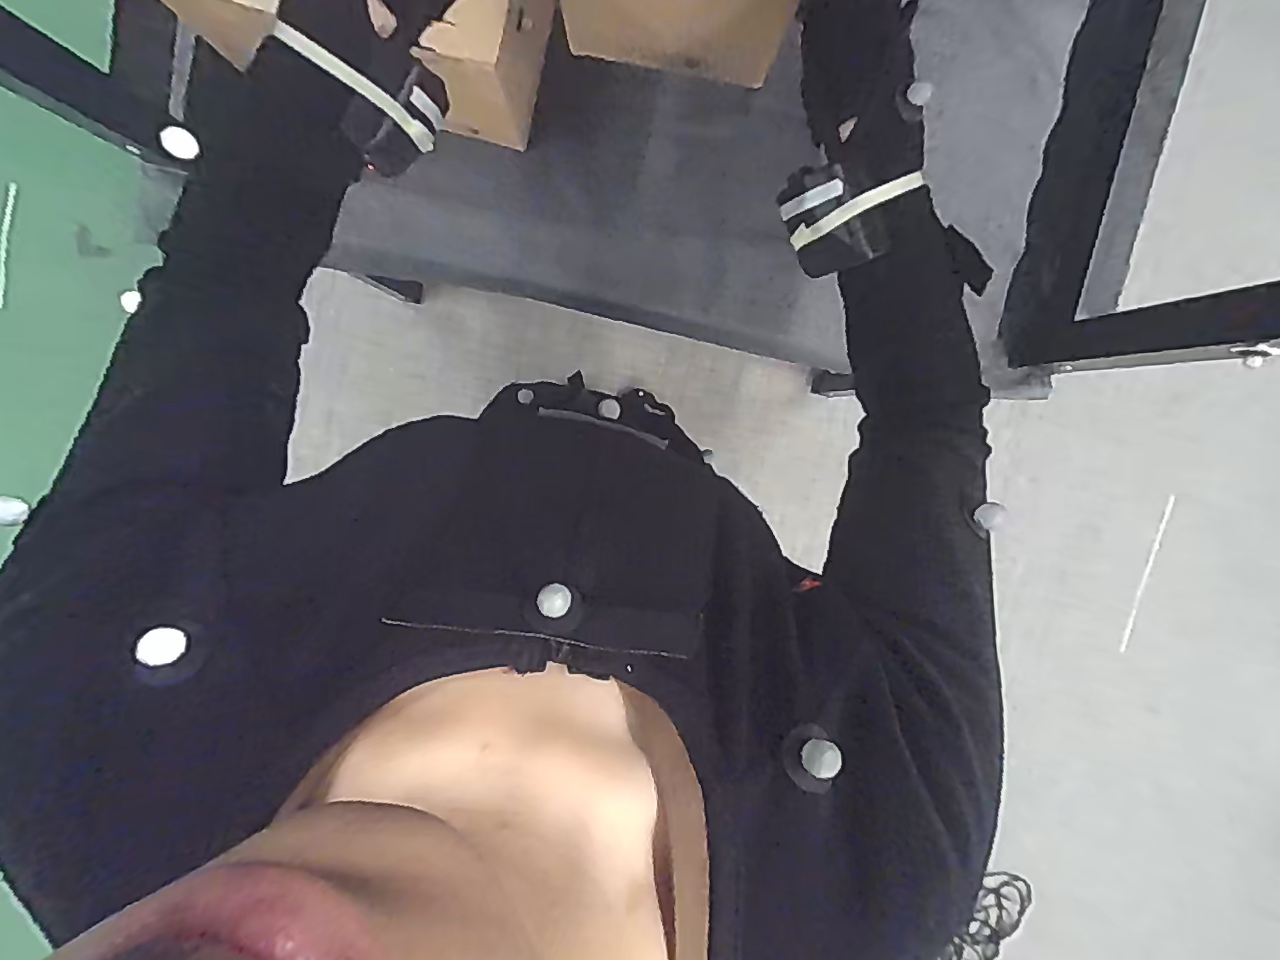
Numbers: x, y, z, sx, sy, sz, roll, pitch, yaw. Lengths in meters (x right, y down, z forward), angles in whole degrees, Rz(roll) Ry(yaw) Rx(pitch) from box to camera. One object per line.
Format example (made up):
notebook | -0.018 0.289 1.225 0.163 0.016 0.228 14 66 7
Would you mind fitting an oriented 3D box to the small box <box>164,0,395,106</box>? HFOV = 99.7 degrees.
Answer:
small box | -0.380 -0.543 0.569 0.168 0.176 0.179 15 96 -5
